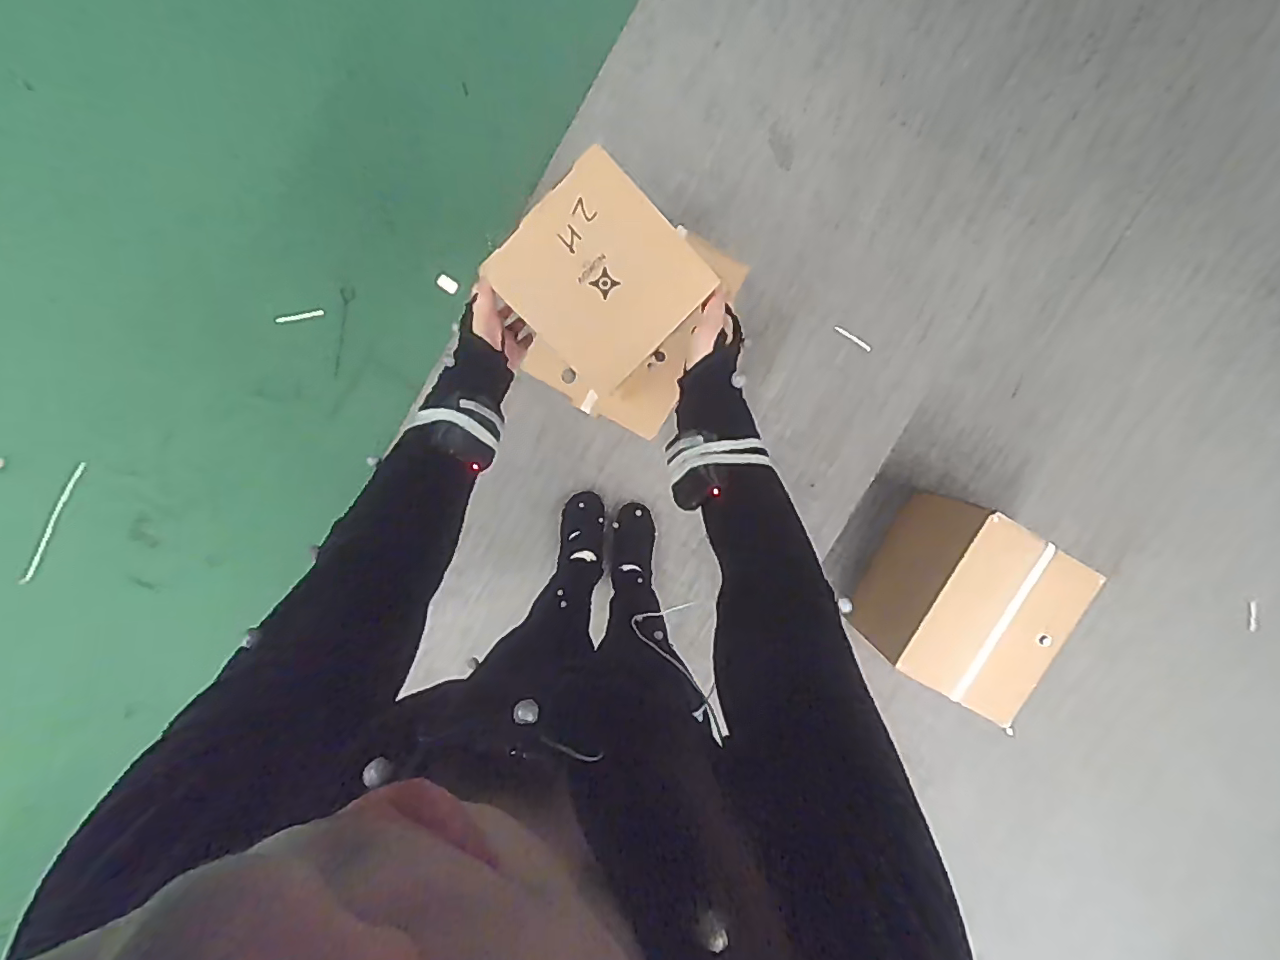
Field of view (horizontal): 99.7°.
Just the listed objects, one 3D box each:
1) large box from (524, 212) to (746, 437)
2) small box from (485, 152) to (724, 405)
[{"bbox_3d":[-0.015,-0.345,1.233,0.320,0.320,0.408,29,95,-5],"label":"large box"},{"bbox_3d":[-0.034,-0.206,0.598,0.168,0.176,0.179,-43,99,7],"label":"small box"}]
